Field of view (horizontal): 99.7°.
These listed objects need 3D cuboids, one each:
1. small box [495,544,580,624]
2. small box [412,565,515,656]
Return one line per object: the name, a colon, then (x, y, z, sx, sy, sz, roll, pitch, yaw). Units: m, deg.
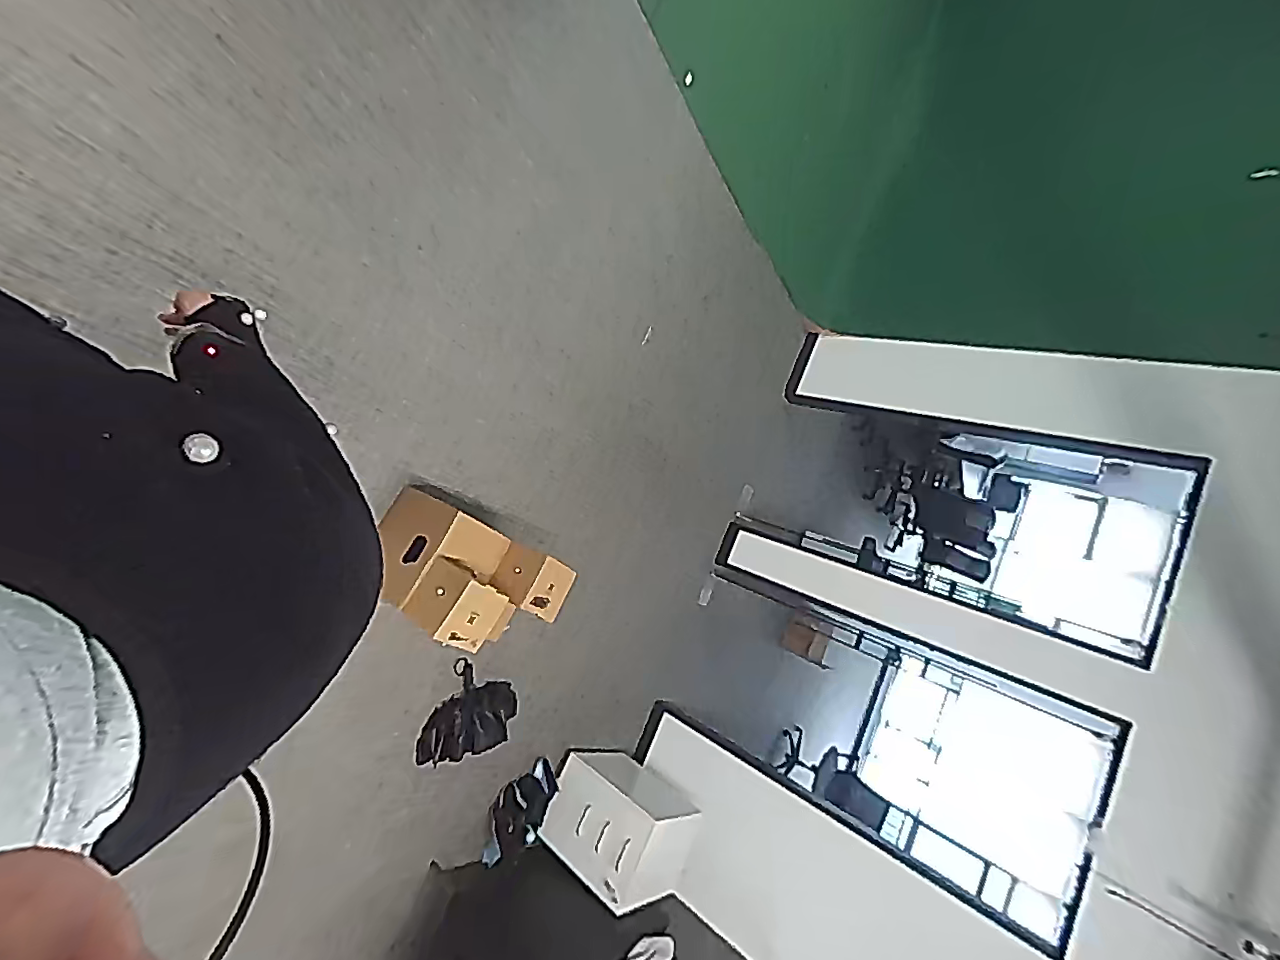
small box: (-0.326, 0.324, 1.693, 0.168, 0.176, 0.179, 46, 63, -50)
small box: (-0.489, 0.355, 1.490, 0.179, 0.176, 0.168, -62, 143, -14)
